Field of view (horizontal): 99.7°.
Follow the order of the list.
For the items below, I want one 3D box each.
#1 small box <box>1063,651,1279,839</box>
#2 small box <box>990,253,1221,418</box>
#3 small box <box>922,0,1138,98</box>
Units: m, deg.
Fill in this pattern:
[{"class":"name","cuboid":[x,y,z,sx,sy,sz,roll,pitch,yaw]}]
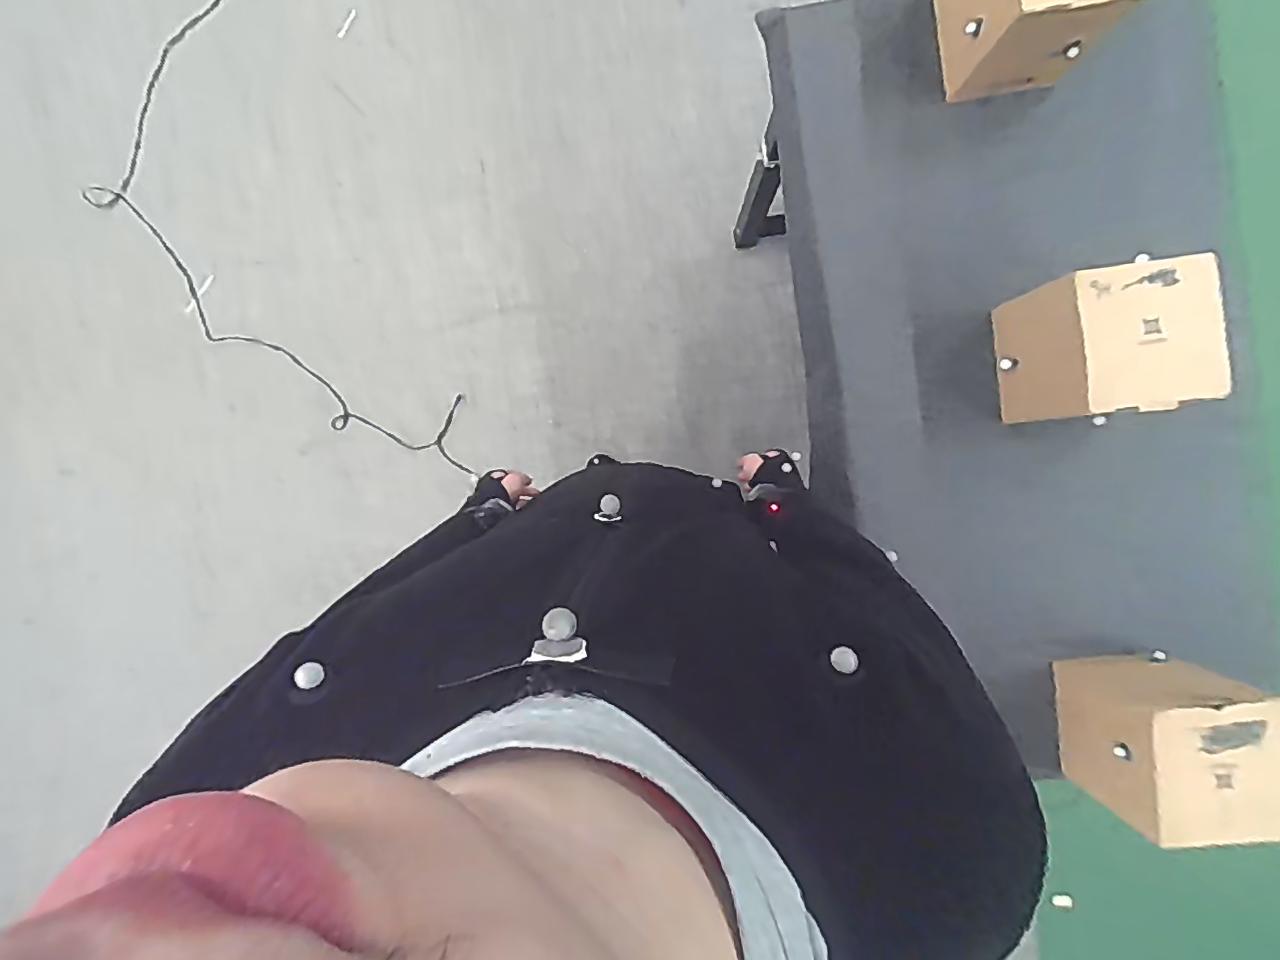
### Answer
[{"class":"small box","cuboid":[0.726,0.346,0.743,0.168,0.176,0.179,-6,91,0]},{"class":"small box","cuboid":[0.615,-0.182,0.735,0.168,0.176,0.179,-8,92,0]},{"class":"small box","cuboid":[0.511,-0.652,0.726,0.168,0.176,0.179,-10,90,-2]}]
